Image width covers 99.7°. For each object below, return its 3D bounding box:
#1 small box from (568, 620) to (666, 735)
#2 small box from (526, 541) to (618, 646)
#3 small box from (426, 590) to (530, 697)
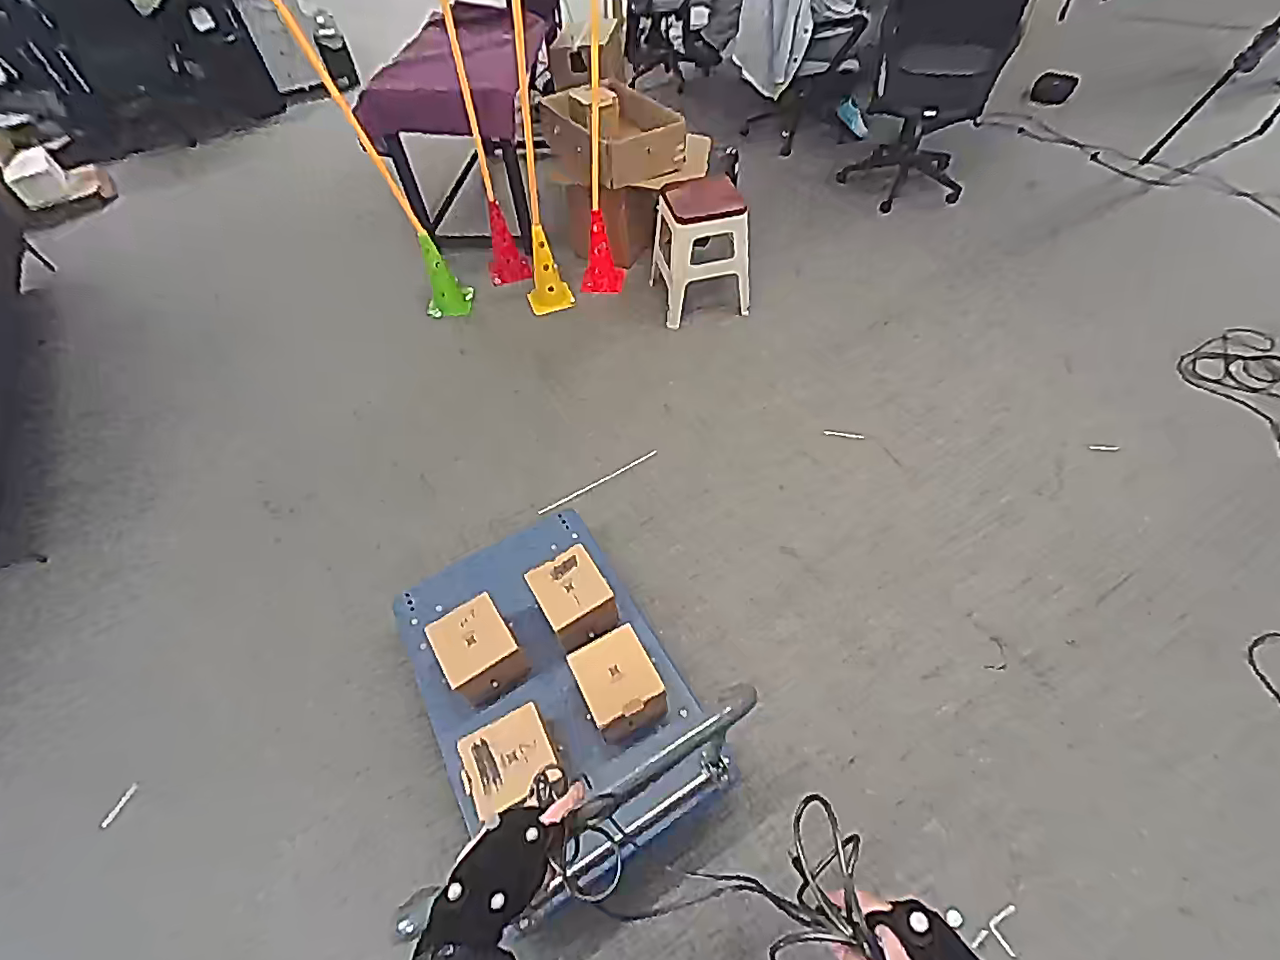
[{"bbox_3d":[-0.051,0.466,1.267,0.168,0.176,0.179,-26,58,-14],"label":"small box"},{"bbox_3d":[-0.171,0.296,1.394,0.168,0.176,0.179,-29,59,-15],"label":"small box"},{"bbox_3d":[-0.391,0.410,1.329,0.168,0.176,0.179,-30,58,-17],"label":"small box"}]
